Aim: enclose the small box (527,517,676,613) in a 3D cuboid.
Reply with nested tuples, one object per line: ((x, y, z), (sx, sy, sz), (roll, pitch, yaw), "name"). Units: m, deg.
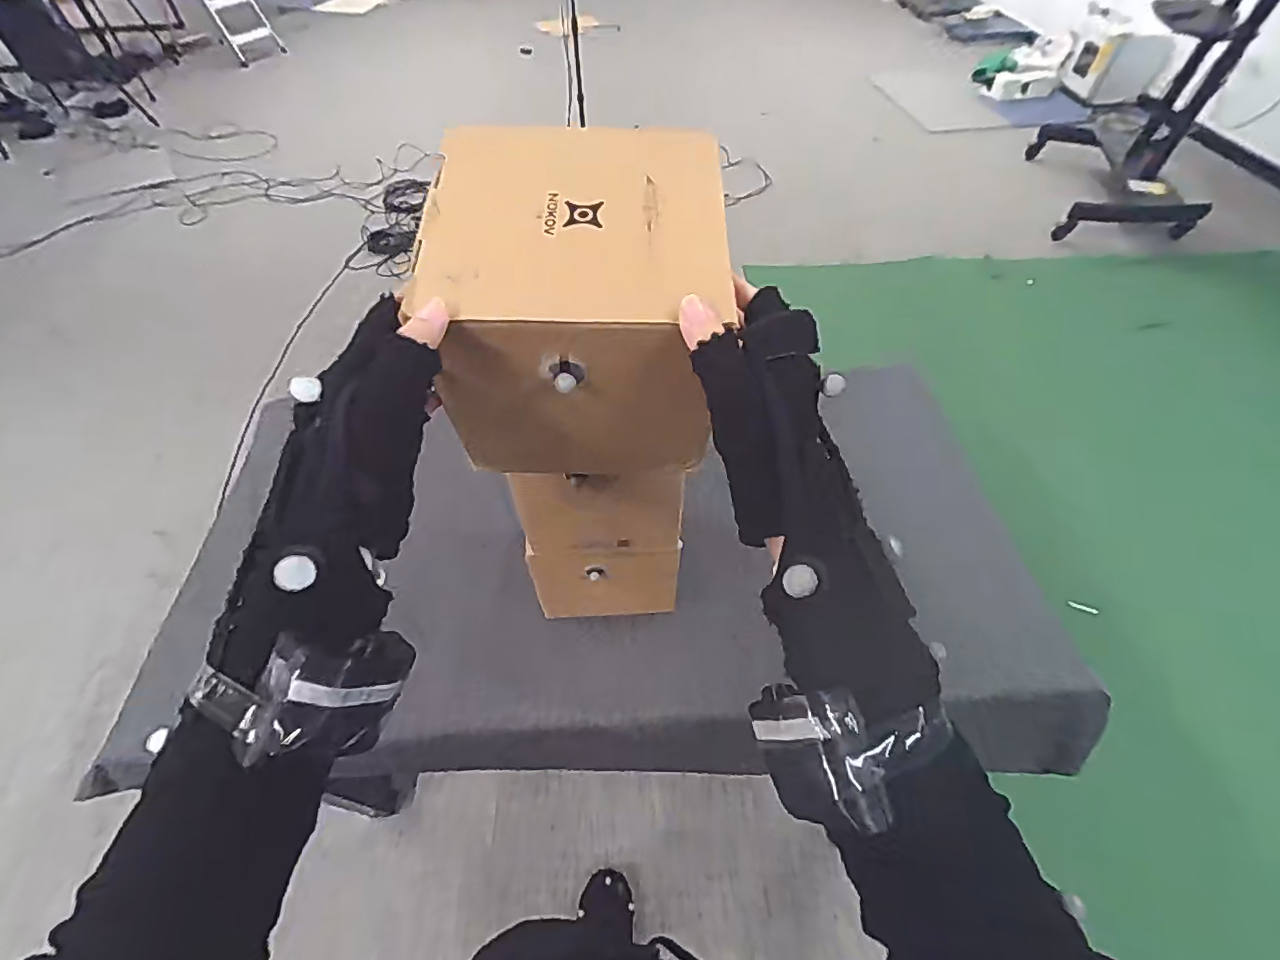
((-0.046, 0.070, 0.732), (0.179, 0.176, 0.168), (-2, 52, -2), "small box")

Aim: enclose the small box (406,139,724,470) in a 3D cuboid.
((-0.041, -0.117, 0.398), (0.179, 0.176, 0.168), (1, 62, -2), "small box")

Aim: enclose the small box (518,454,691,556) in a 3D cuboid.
((-0.041, -0.033, 0.608), (0.168, 0.176, 0.179), (-3, 52, -4), "small box")
